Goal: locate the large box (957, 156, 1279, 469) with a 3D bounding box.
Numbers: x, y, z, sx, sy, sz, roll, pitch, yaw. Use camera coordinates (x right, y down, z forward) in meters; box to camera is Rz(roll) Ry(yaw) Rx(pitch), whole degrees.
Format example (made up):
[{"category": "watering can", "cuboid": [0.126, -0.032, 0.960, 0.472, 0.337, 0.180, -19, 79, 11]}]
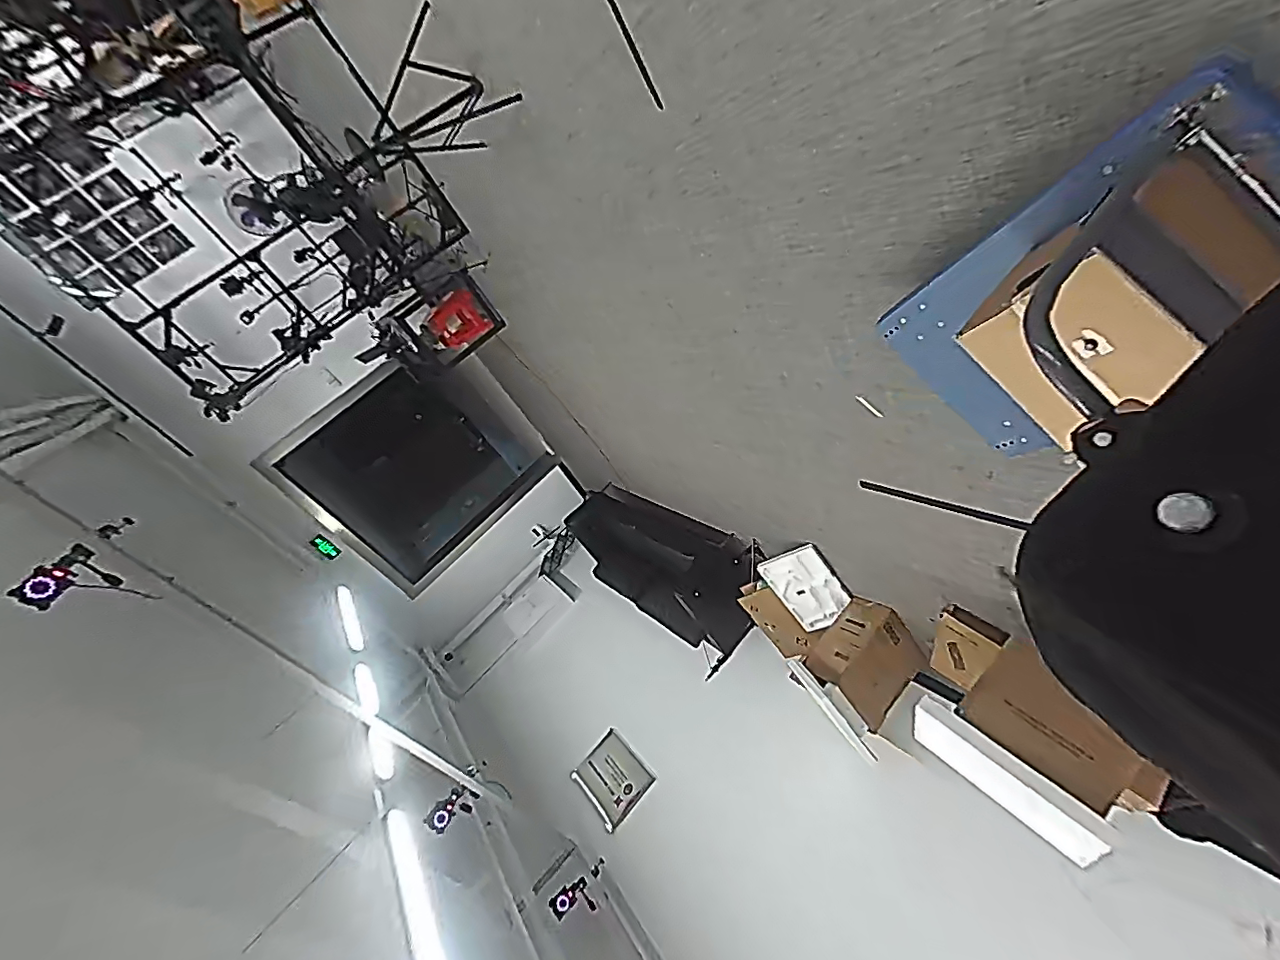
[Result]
[{"category": "large box", "cuboid": [0.932, -0.291, 1.022, 0.408, 0.320, 0.320, 46, 164, 1]}]
